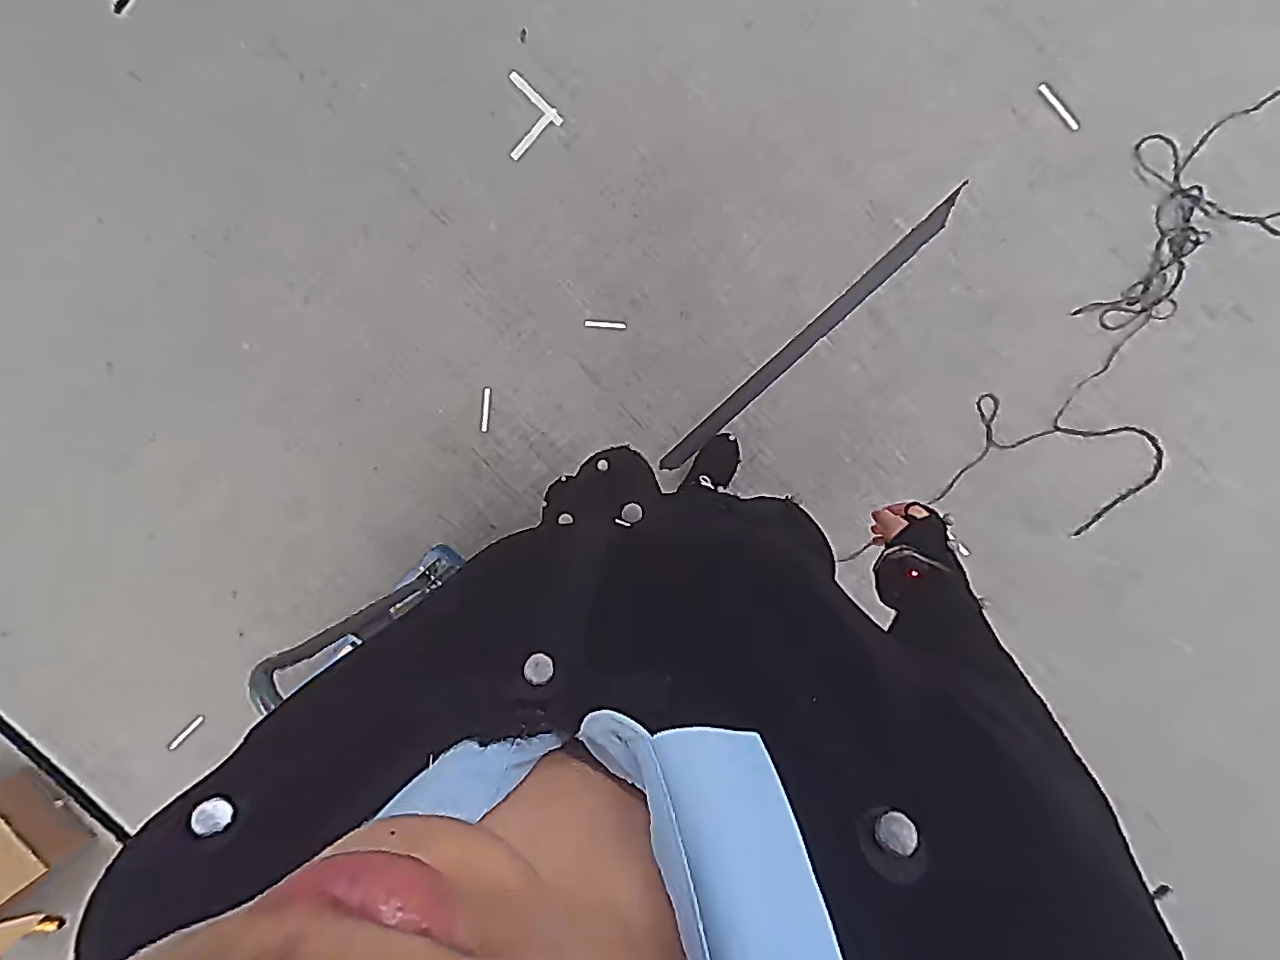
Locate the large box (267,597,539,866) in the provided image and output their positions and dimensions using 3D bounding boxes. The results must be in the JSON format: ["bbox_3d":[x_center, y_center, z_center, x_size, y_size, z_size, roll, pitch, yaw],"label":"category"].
[{"bbox_3d":[-0.504,0.543,1.235,0.408,0.320,0.320,40,95,-1],"label":"large box"}]
